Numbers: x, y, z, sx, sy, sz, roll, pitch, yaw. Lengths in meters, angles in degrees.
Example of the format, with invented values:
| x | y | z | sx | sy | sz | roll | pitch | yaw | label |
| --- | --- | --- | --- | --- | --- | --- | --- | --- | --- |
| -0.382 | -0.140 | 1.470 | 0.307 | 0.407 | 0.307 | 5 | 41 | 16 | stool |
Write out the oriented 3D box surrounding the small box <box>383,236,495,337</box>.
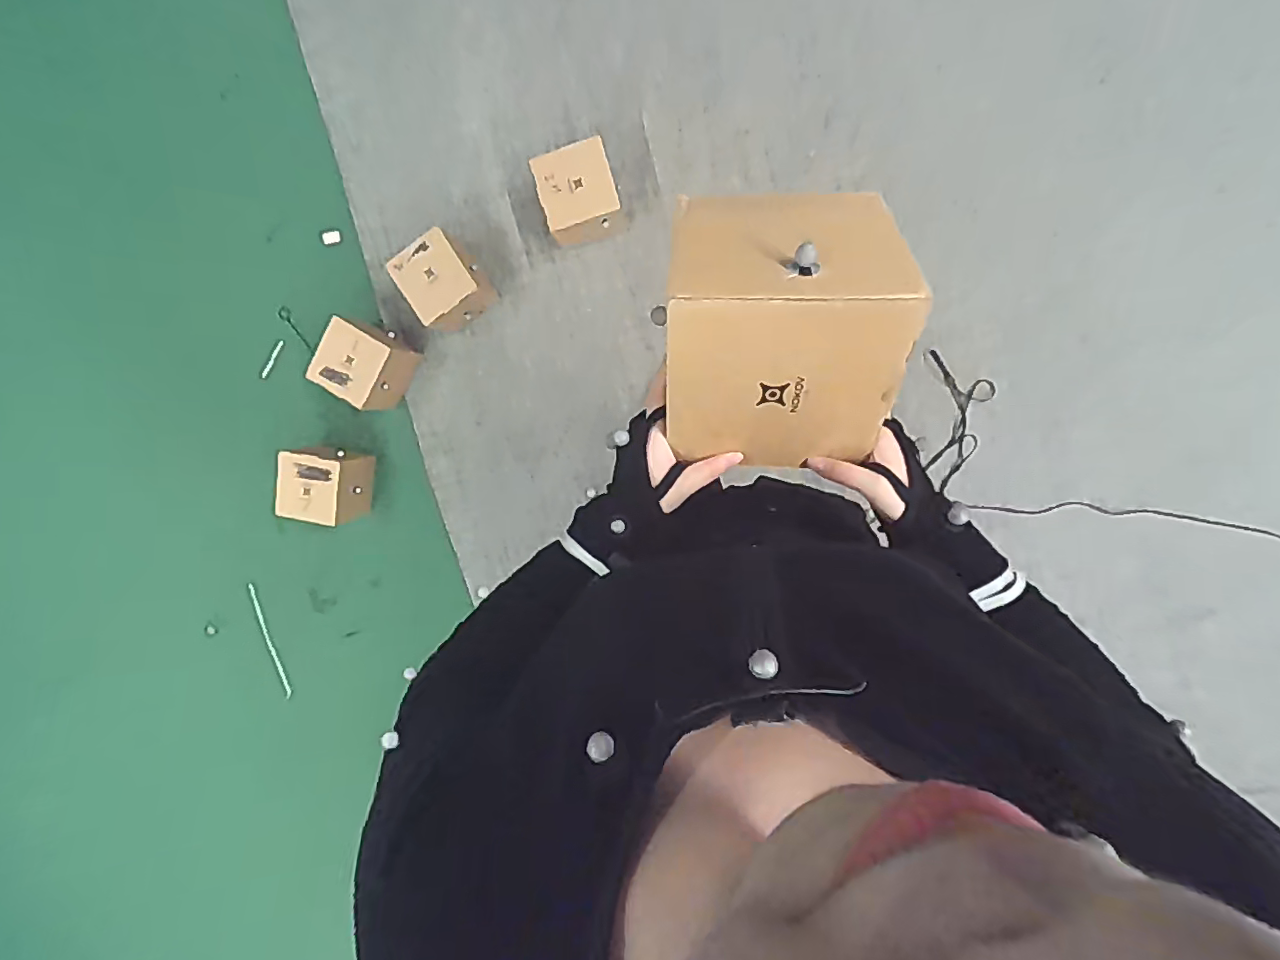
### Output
| x | y | z | sx | sy | sz | roll | pitch | yaw | label |
| --- | --- | --- | --- | --- | --- | --- | --- | --- | --- |
| -0.497 | -0.478 | 1.369 | 0.168 | 0.176 | 0.179 | -32 | 95 | 8 | small box |

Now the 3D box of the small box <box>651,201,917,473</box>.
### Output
| x | y | z | sx | sy | sz | roll | pitch | yaw | label |
| --- | --- | --- | --- | --- | --- | --- | --- | --- | --- |
| 0.102 | -0.125 | 0.469 | 0.179 | 0.176 | 0.168 | 2 | 138 | 3 | small box |

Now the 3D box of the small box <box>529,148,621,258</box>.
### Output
| x | y | z | sx | sy | sz | roll | pitch | yaw | label |
| --- | --- | --- | --- | --- | --- | --- | --- | --- | --- |
| -0.149 | -0.665 | 1.319 | 0.179 | 0.176 | 0.168 | -16 | 96 | 5 | small box |

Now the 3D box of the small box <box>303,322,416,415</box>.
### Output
| x | y | z | sx | sy | sz | roll | pitch | yaw | label |
| --- | --- | --- | --- | --- | --- | --- | --- | --- | --- |
| -0.721 | -0.283 | 1.412 | 0.168 | 0.176 | 0.179 | 32 | 98 | -1 | small box |
